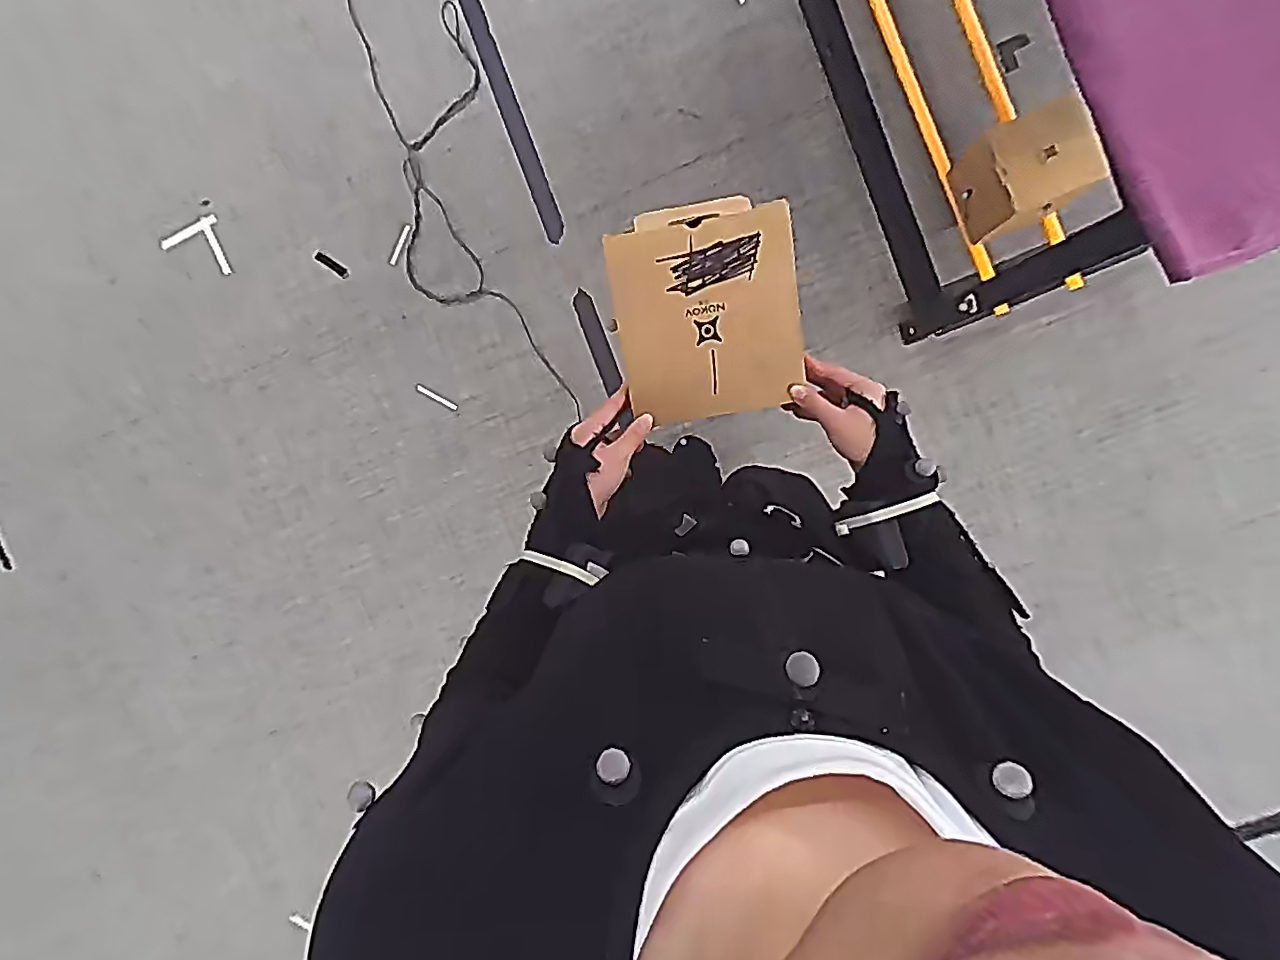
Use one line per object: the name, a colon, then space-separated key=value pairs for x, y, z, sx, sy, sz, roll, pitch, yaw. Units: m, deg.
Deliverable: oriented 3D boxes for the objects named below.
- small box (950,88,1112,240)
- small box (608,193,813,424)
small box: x=0.756 y=-0.608 z=1.065 sx=0.179 sy=0.176 sz=0.168 roll=-22 pitch=91 yaw=8
small box: x=0.067 y=-0.167 z=0.556 sx=0.168 sy=0.176 sz=0.179 roll=-9 pitch=105 yaw=5
